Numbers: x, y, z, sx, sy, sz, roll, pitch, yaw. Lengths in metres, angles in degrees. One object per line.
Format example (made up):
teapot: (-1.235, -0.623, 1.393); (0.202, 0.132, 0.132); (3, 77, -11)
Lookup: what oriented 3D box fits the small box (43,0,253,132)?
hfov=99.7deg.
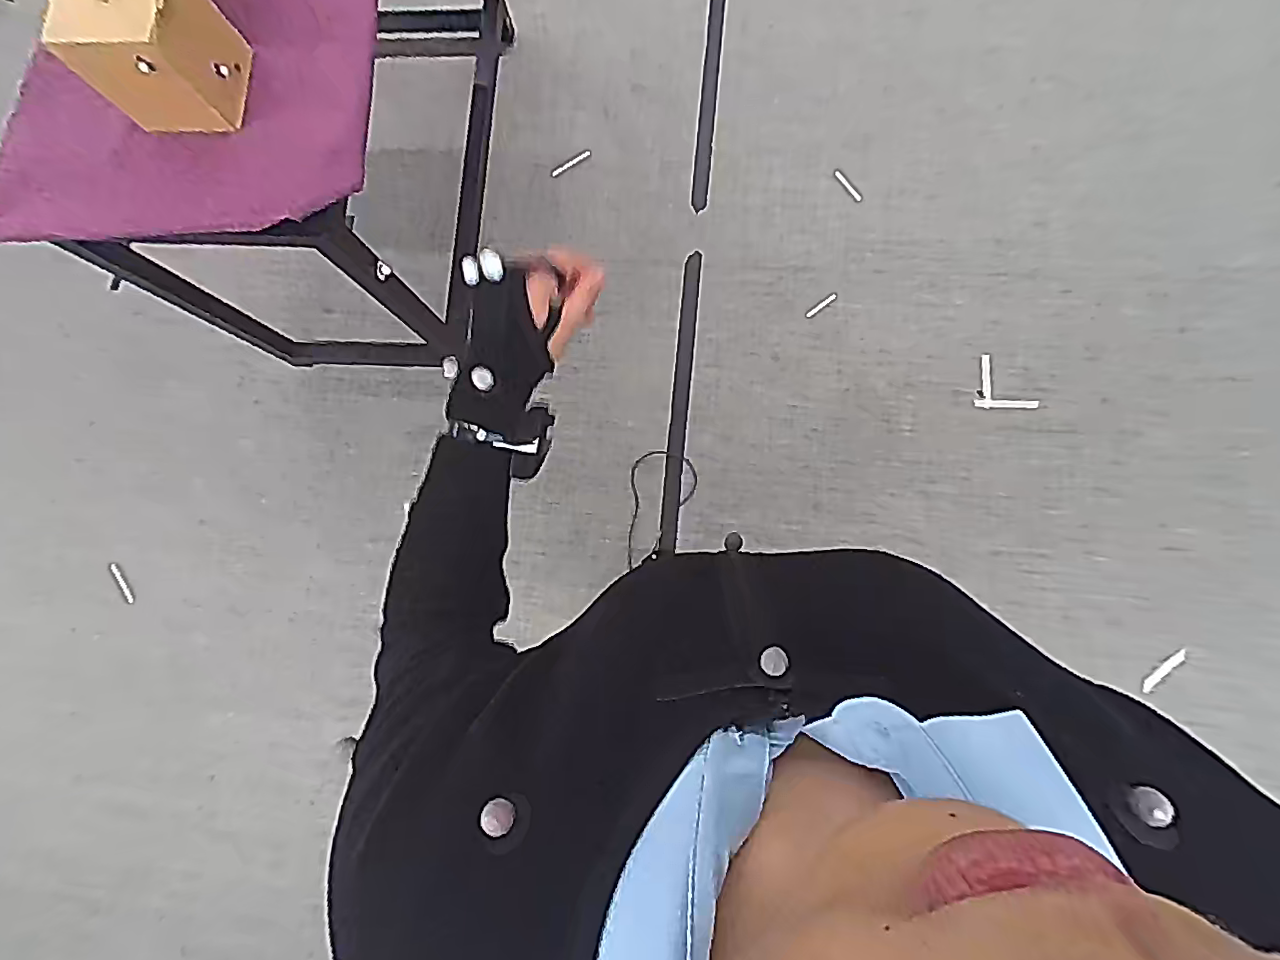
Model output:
small box: (-0.788, -0.704, 0.884); (0.179, 0.176, 0.168); (2, 81, 3)
